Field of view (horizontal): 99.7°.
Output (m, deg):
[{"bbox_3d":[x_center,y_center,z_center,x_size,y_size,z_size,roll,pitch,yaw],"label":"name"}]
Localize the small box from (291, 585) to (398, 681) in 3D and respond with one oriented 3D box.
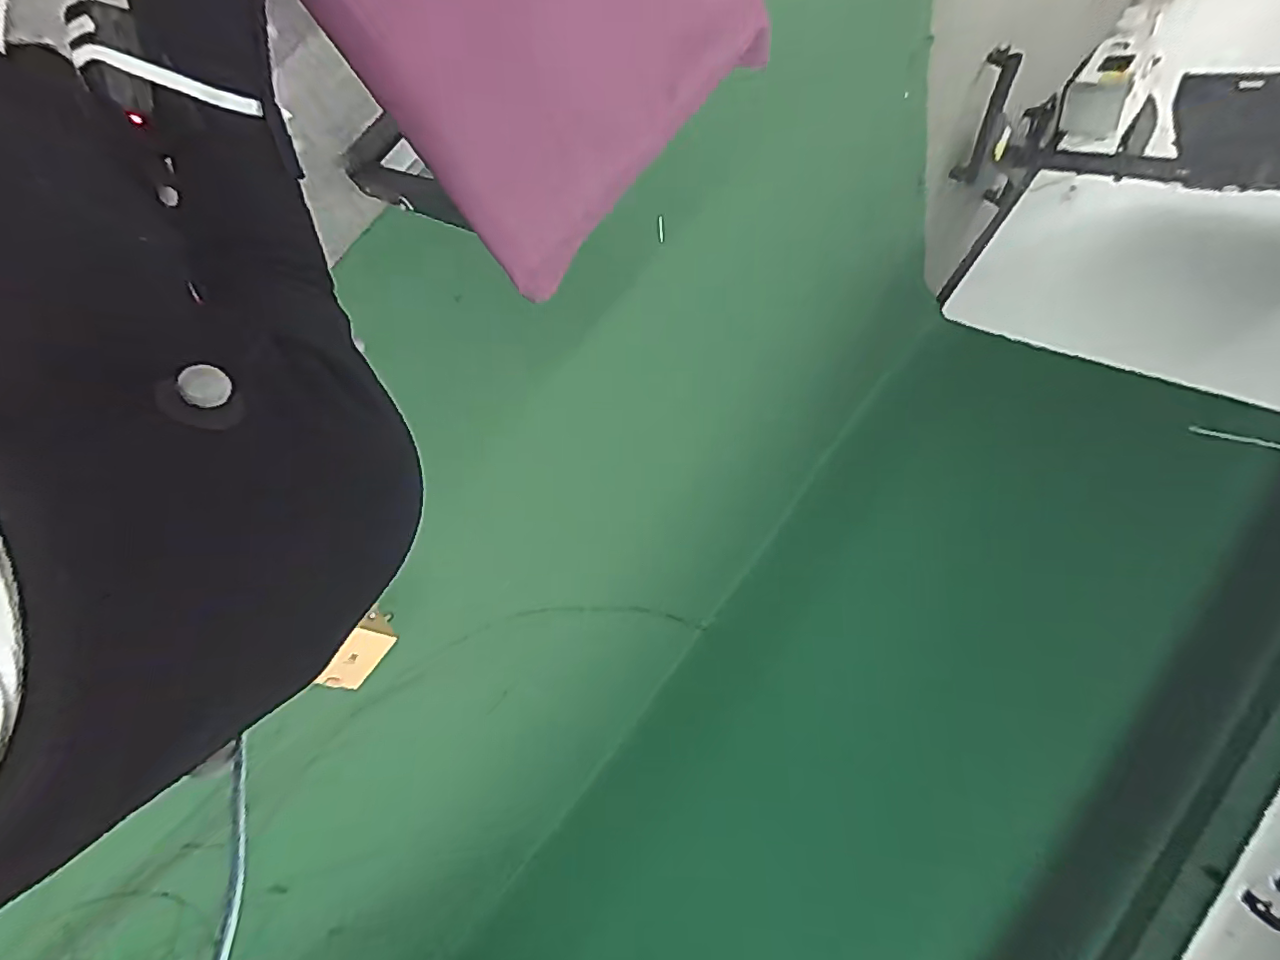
[{"bbox_3d":[-0.815,0.417,1.484,0.179,0.176,0.168,-51,143,-5],"label":"small box"}]
